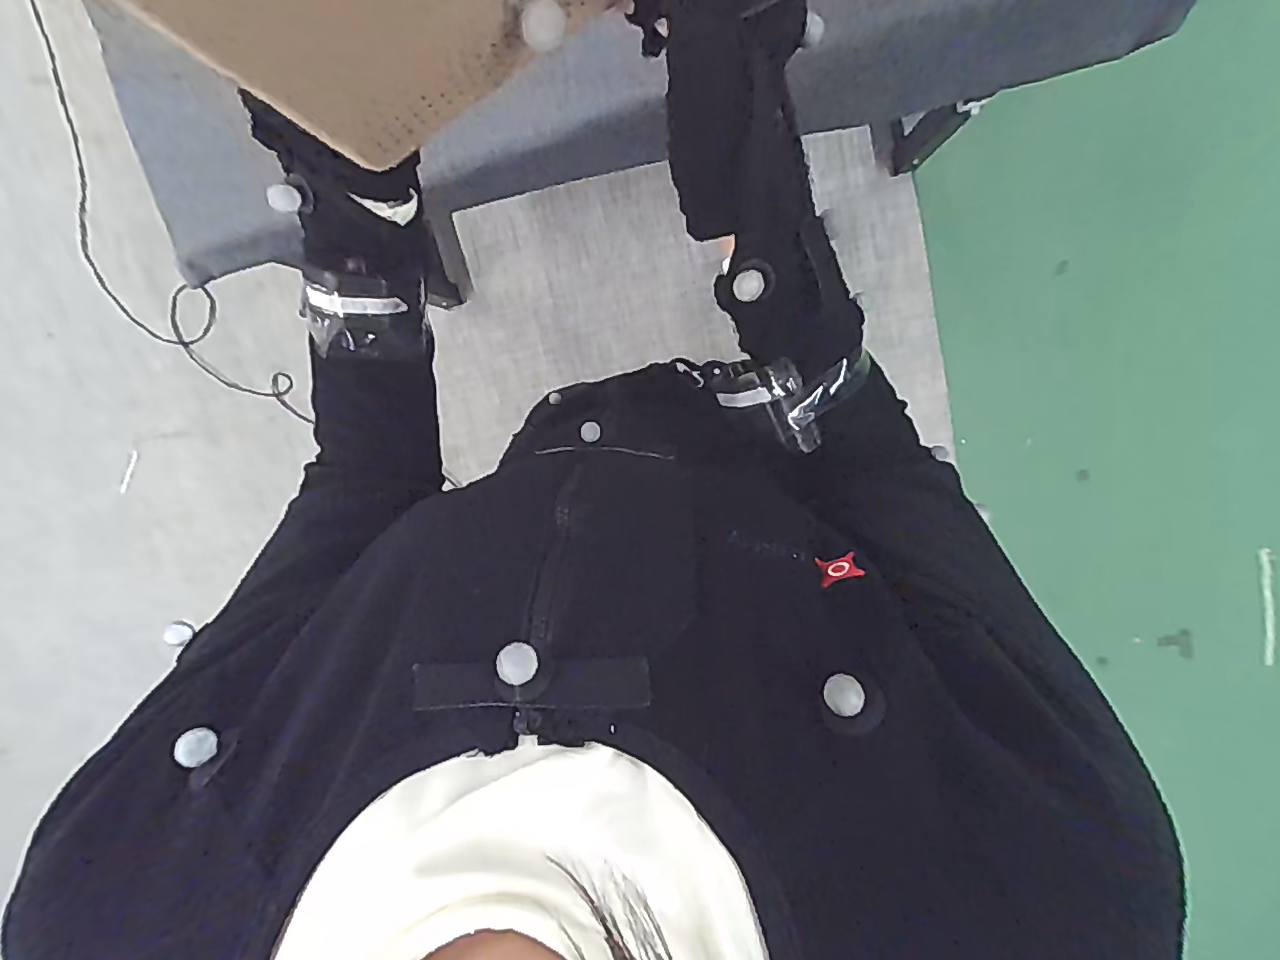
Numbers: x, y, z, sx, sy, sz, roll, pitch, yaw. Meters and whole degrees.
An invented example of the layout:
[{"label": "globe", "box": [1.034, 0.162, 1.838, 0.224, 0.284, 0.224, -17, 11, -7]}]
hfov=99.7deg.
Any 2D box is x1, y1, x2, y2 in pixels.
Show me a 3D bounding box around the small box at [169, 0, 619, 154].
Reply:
[{"label": "small box", "box": [-0.081, -0.230, 0.136, 0.179, 0.176, 0.168, -32, 101, 5]}]
